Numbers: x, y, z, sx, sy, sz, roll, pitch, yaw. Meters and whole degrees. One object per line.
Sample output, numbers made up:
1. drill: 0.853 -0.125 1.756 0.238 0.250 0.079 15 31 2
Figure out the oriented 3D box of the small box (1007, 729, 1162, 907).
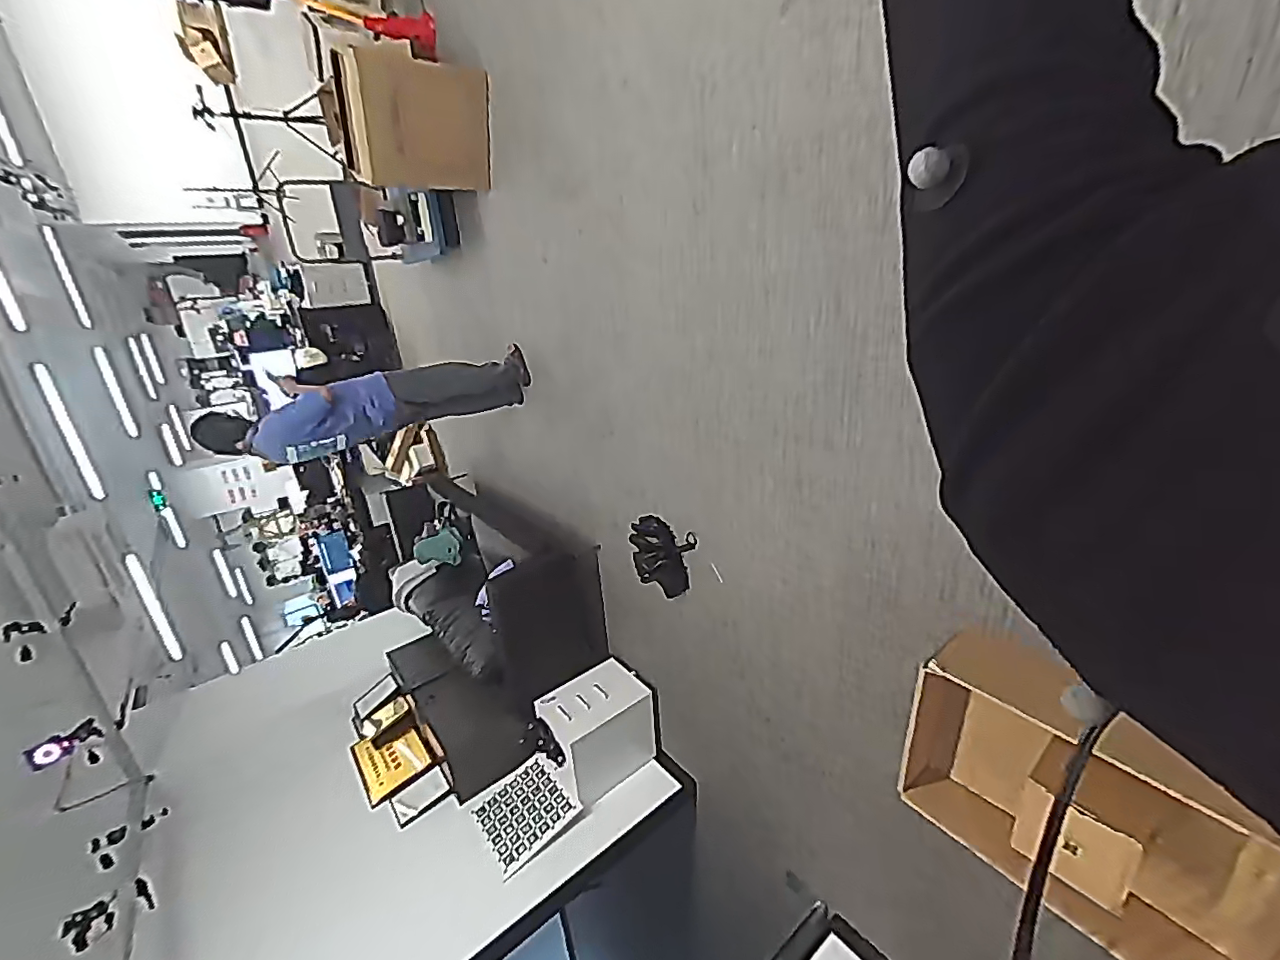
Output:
1. small box: 0.803 0.598 0.980 0.168 0.176 0.179 22 126 49
